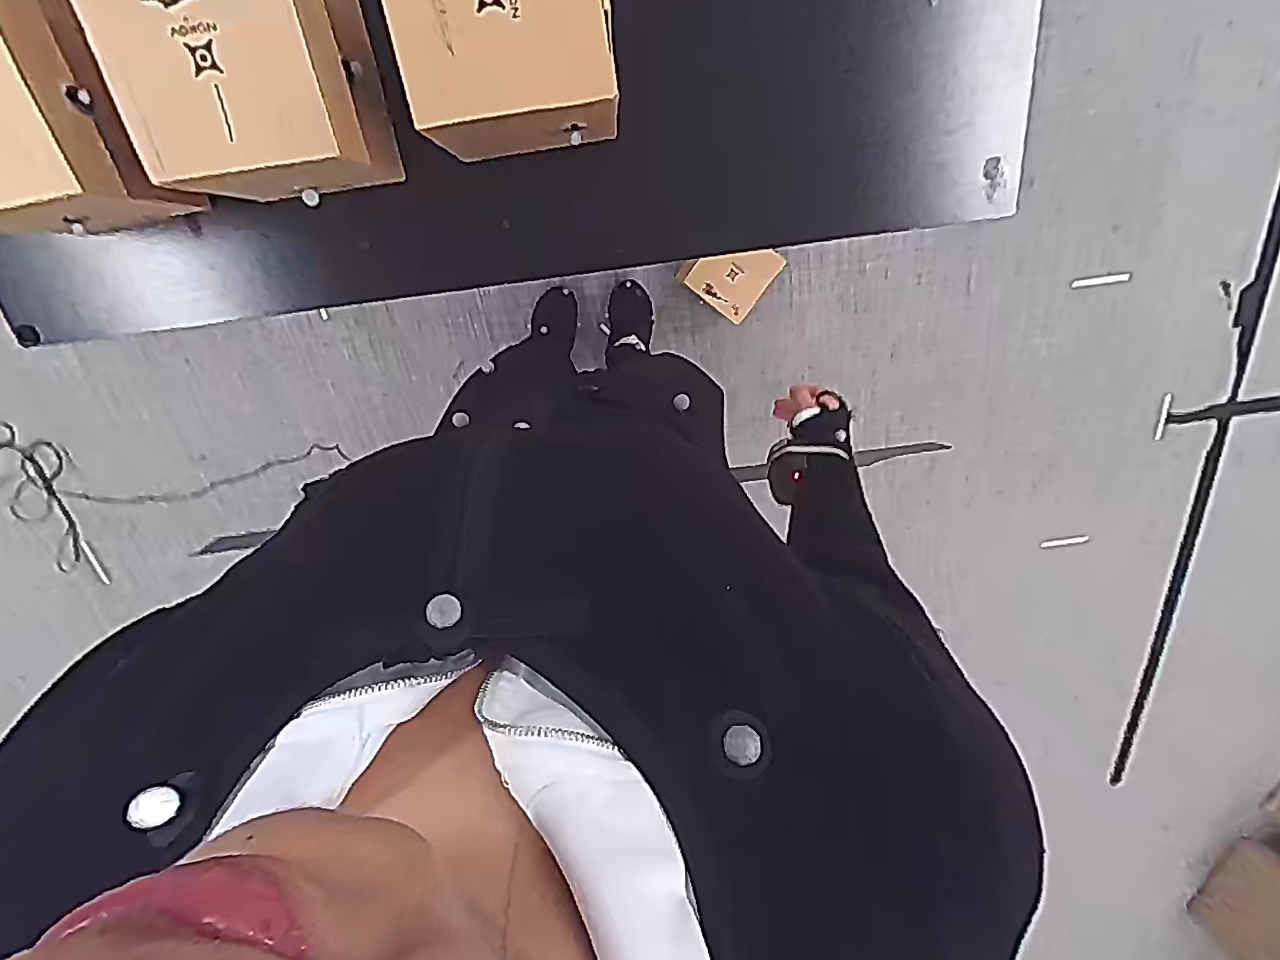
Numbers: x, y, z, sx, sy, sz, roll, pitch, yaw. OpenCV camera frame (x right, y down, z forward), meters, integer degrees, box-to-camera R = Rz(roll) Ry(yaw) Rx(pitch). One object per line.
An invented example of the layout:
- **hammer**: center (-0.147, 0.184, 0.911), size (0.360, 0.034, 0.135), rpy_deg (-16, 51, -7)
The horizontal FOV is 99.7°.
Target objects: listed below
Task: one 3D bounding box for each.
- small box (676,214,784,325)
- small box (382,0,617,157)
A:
- **small box**: center (0.201, -0.495, 1.274), size (0.168, 0.176, 0.179), rpy_deg (33, 107, -16)
- **small box**: center (-0.120, -0.413, 0.497), size (0.179, 0.176, 0.168), rpy_deg (-8, 112, 0)
